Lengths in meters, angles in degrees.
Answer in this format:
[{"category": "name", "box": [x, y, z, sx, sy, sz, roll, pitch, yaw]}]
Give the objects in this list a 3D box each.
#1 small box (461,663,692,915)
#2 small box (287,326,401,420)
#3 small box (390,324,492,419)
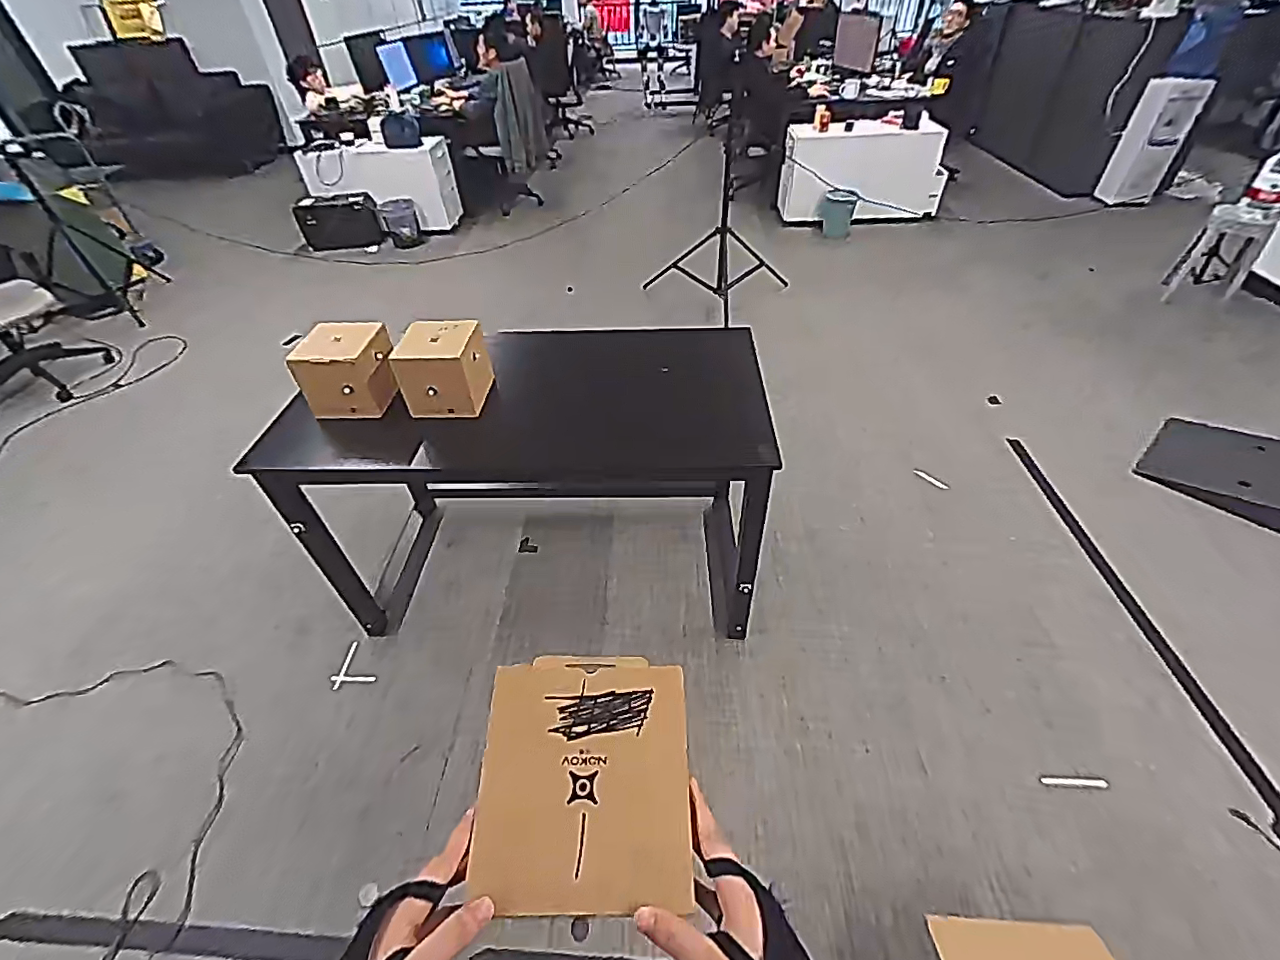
[{"category": "small box", "box": [-0.047, 0.282, 0.491, 0.168, 0.176, 0.179, 0, 52, -1]}, {"category": "small box", "box": [-0.710, -0.260, 1.327, 0.168, 0.176, 0.179, 0, 42, 2]}, {"category": "small box", "box": [-0.471, -0.261, 1.312, 0.168, 0.176, 0.179, 0, 43, 3]}]
